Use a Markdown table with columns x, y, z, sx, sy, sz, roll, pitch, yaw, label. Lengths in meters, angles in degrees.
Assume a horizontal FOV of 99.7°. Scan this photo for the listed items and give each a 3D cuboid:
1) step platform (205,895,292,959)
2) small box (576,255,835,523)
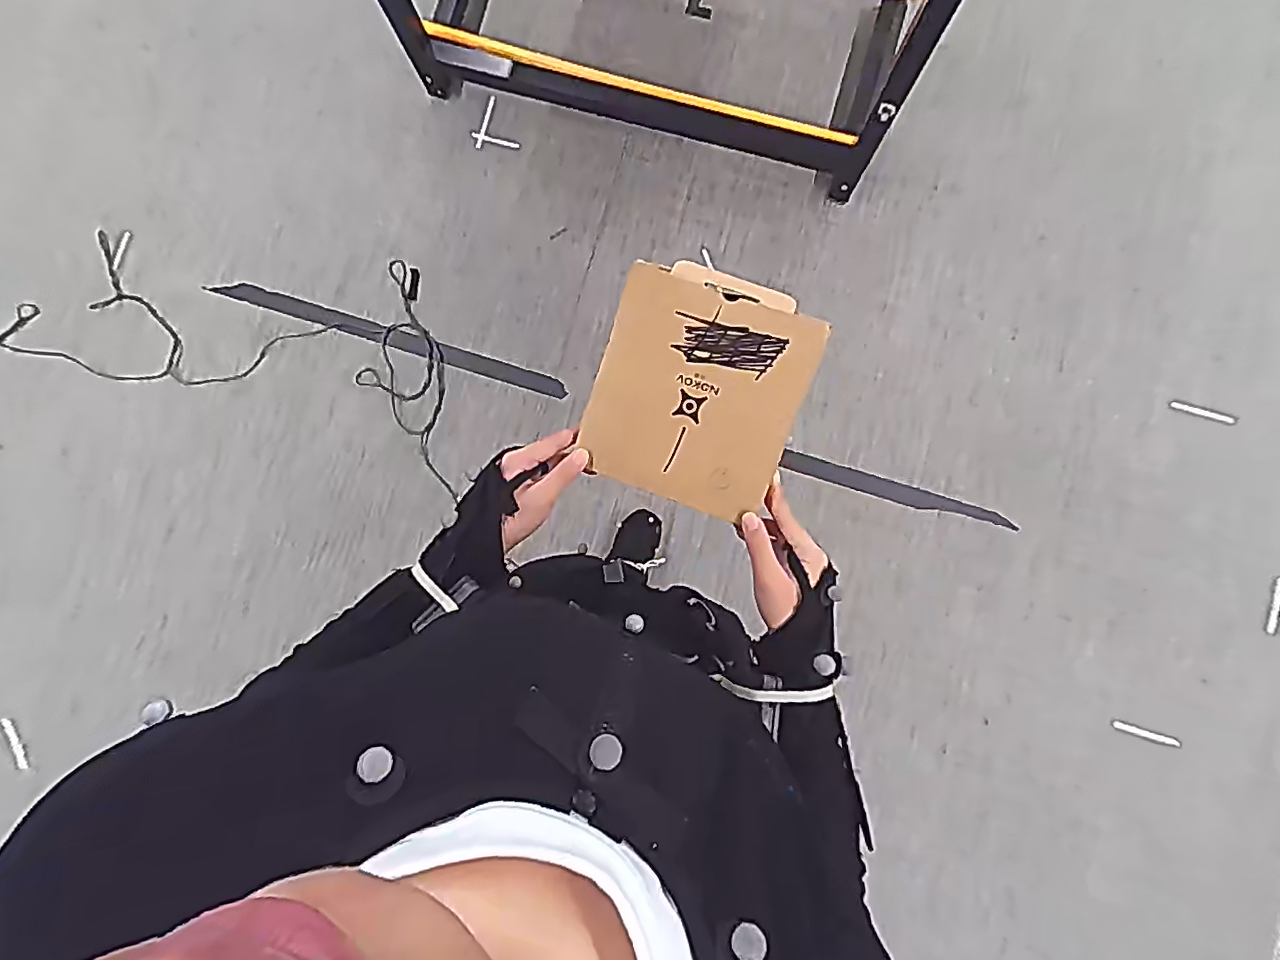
| x | y | z | sx | sy | sz | roll | pitch | yaw | label |
| --- | --- | --- | --- | --- | --- | --- | --- | --- | --- |
| -0.666 | 1.237 | 1.218 | 0.684 | 0.204 | 0.286 | 16 | 87 | 2 | step platform |
| 0.058 | -0.081 | 0.514 | 0.168 | 0.176 | 0.179 | 20 | 99 | 5 | small box |
